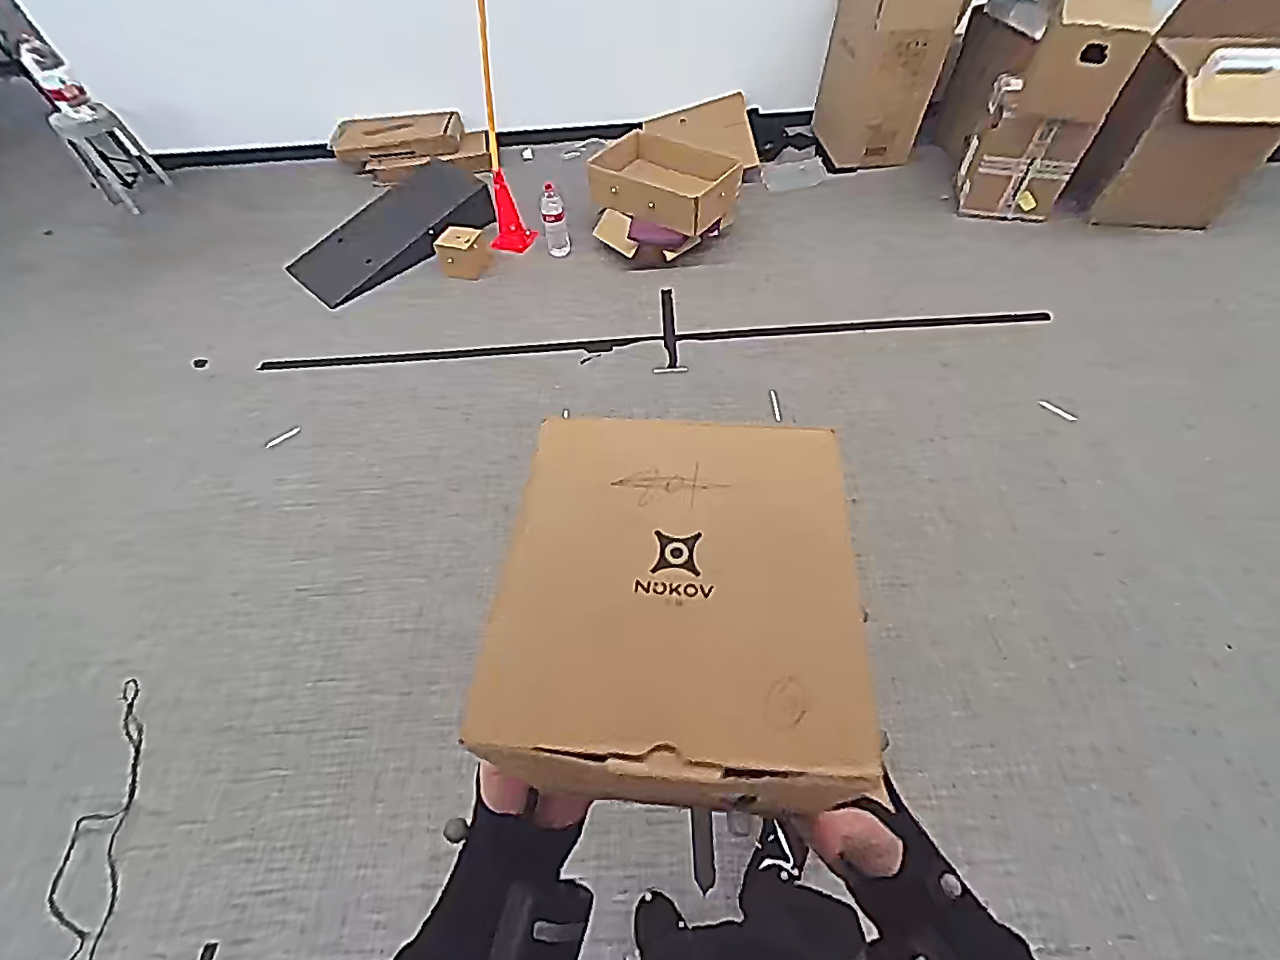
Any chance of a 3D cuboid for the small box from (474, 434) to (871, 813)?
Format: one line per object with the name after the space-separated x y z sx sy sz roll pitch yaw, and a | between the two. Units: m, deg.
0.021 0.092 0.330 0.168 0.176 0.179 2 53 4 | small box
